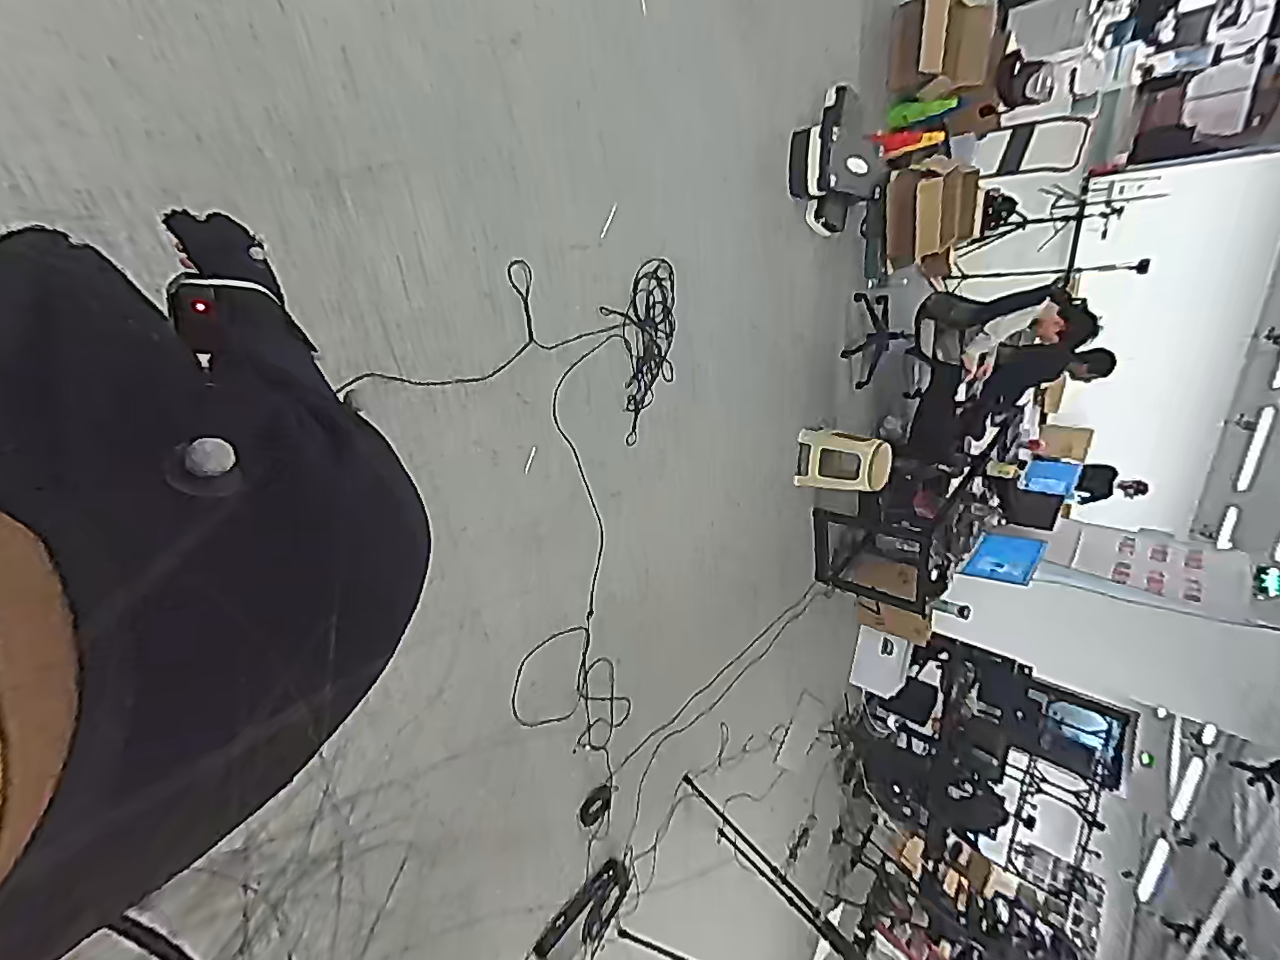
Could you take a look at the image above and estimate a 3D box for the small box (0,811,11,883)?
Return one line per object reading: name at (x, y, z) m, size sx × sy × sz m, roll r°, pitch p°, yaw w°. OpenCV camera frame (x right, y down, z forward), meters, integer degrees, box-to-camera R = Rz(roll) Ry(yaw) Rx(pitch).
small box at (-1.265, 0.658, 0.945) m, size 0.168 × 0.176 × 0.179 m, roll -29°, pitch 121°, yaw -39°
